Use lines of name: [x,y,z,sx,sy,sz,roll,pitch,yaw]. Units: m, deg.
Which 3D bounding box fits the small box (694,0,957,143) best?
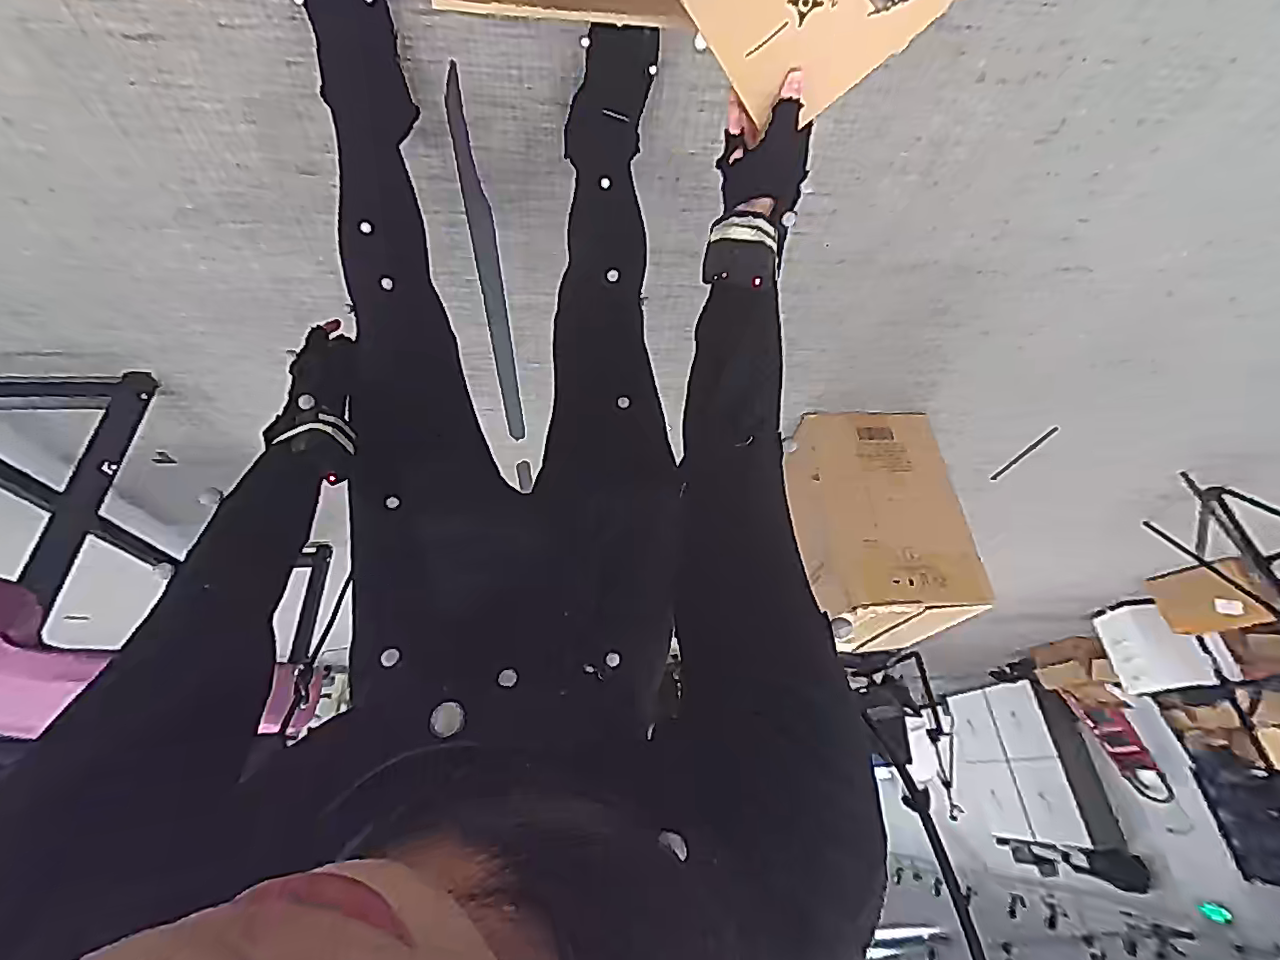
small box: [0.148,-0.466,0.488,0.179,0.176,0.168,-28,135,31]
